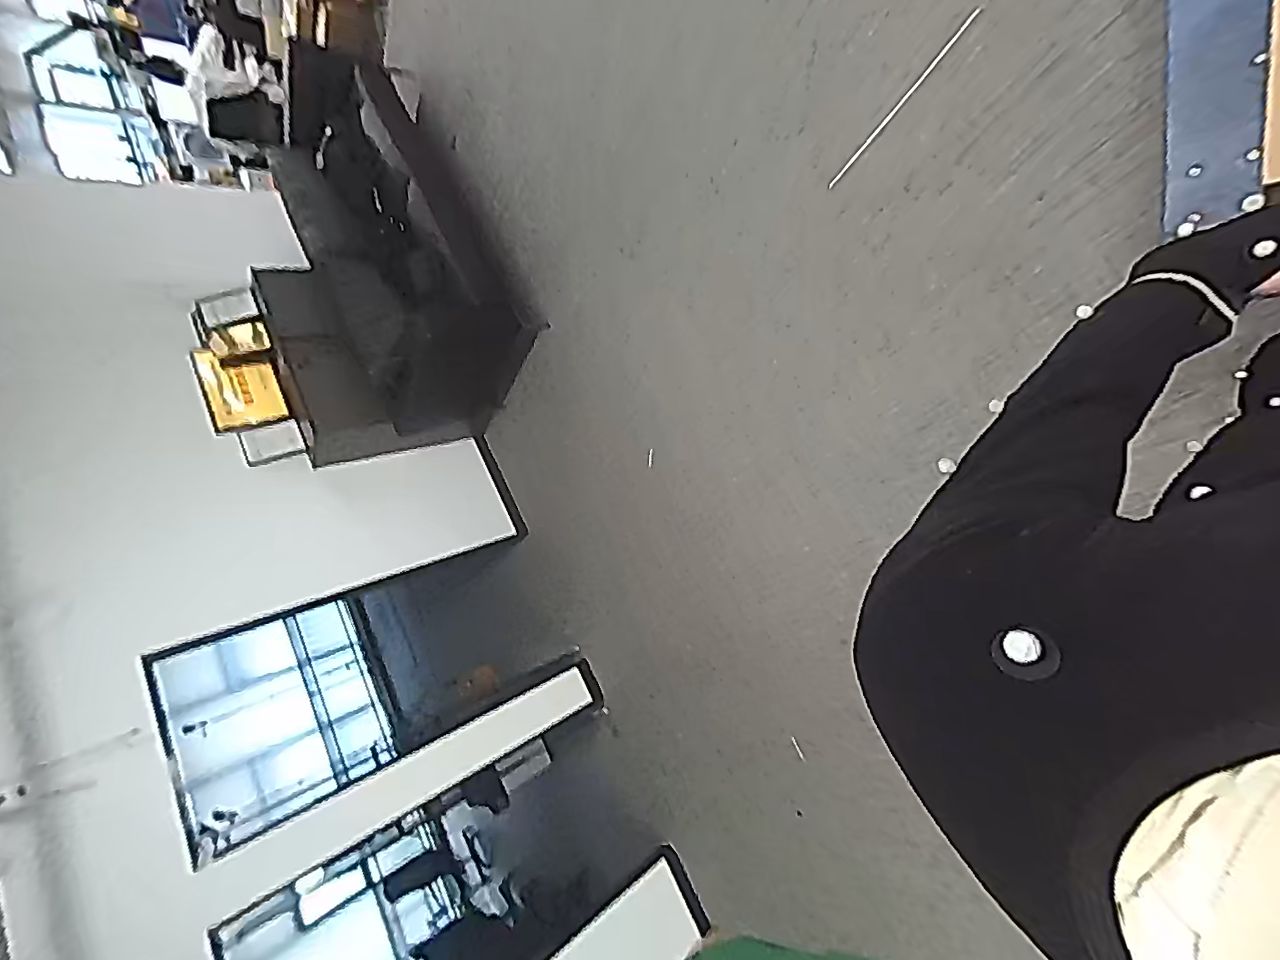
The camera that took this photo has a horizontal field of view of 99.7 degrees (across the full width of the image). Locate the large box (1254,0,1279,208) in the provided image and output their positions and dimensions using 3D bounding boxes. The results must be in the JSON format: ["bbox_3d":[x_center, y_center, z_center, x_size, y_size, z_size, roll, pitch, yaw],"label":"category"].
[{"bbox_3d":[1.035,-0.621,0.689,0.320,0.320,0.408,4,105,49],"label":"large box"}]
